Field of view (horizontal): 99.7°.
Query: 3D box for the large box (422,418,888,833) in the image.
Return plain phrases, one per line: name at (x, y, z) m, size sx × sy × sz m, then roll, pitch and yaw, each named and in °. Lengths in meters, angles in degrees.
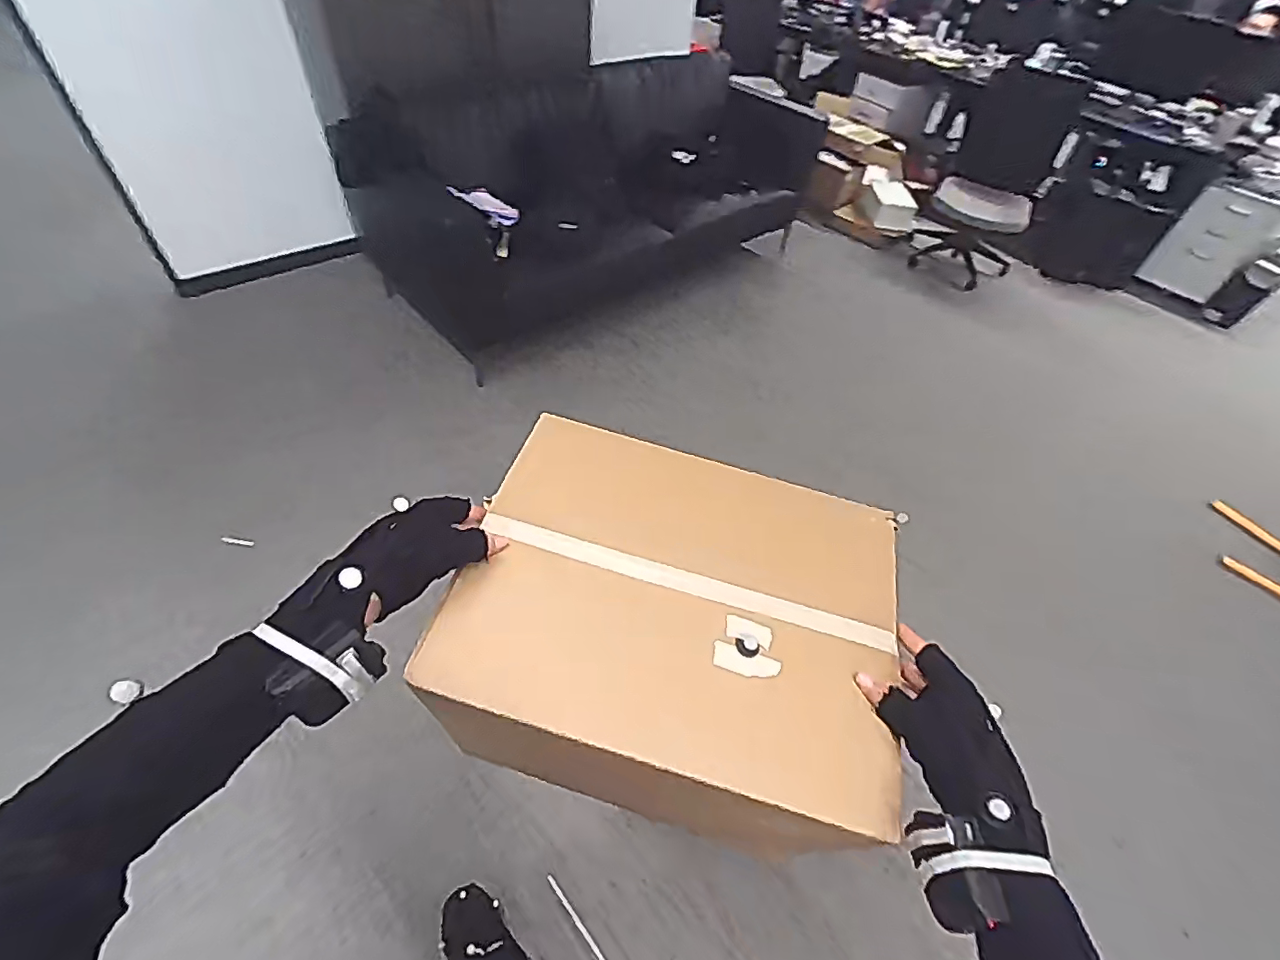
large box at (0.022, 0.182, 0.645) m, size 0.408 × 0.320 × 0.320 m, roll 16°, pitch 54°, yaw 3°
